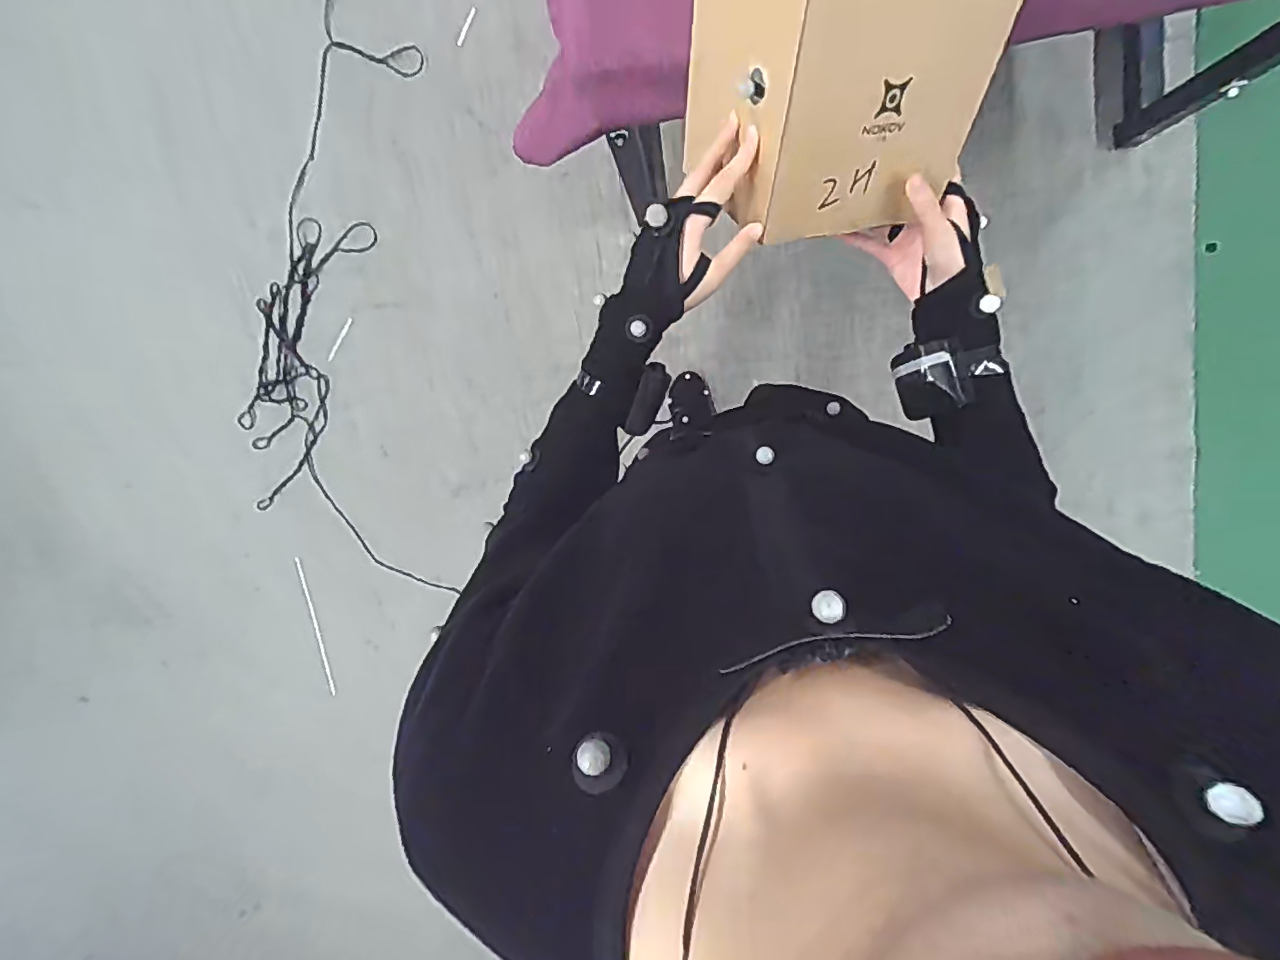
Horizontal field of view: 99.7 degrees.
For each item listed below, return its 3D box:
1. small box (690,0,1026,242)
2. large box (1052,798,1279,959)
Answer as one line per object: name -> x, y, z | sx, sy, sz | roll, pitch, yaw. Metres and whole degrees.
small box -> 0.149, -0.320, 0.430 | 0.168, 0.176, 0.179 | -13, 141, -13
large box -> 1.392, 1.097, 1.379 | 0.408, 0.320, 0.320 | -22, 96, 8
